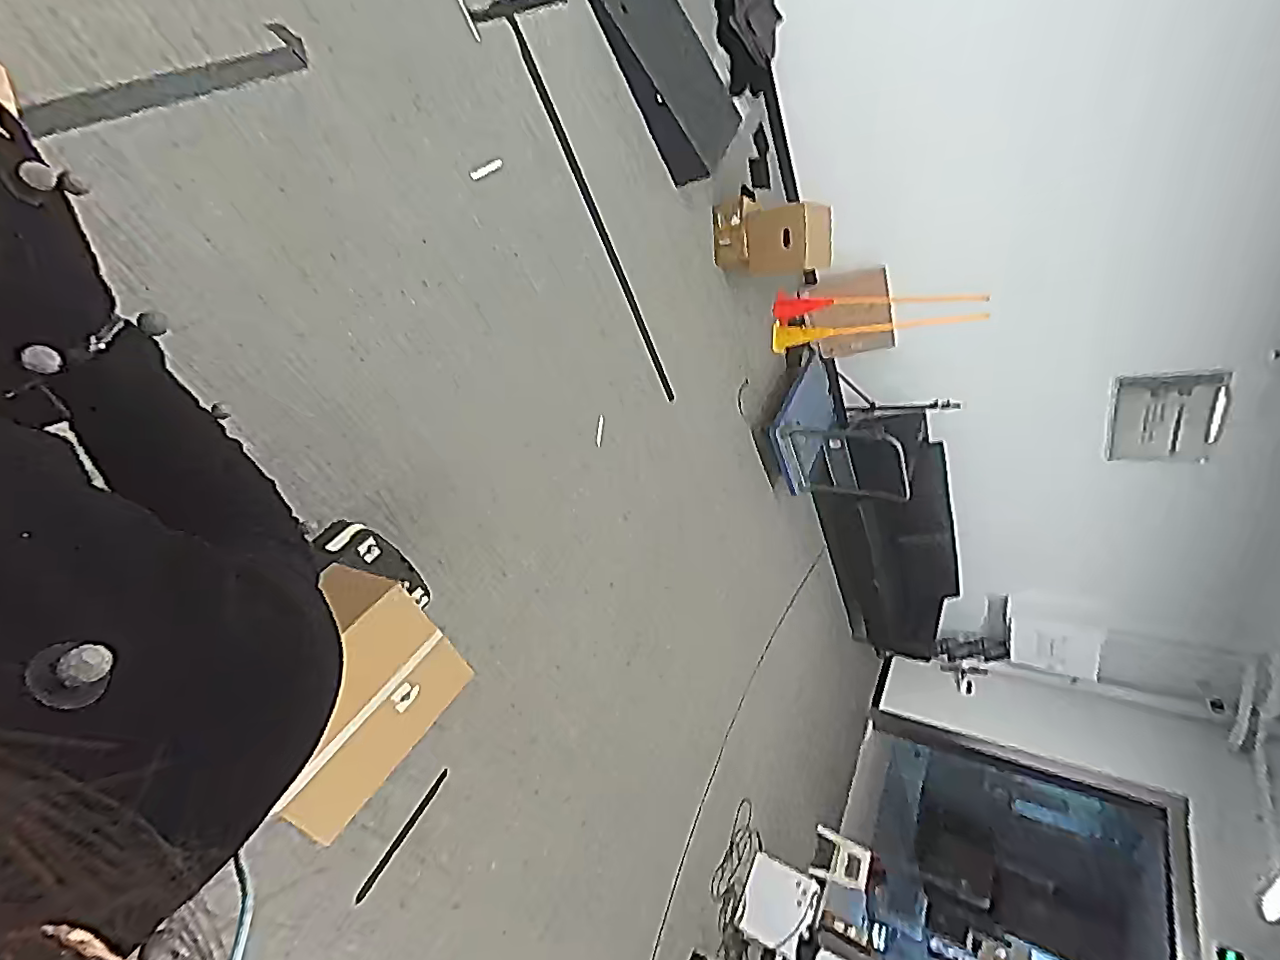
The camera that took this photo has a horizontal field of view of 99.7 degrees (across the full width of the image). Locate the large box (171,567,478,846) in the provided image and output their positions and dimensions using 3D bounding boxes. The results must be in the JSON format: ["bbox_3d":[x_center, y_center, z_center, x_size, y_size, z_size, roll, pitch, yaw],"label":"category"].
[{"bbox_3d":[-0.643,0.445,1.146,0.408,0.320,0.320,-51,130,-38],"label":"large box"}]
